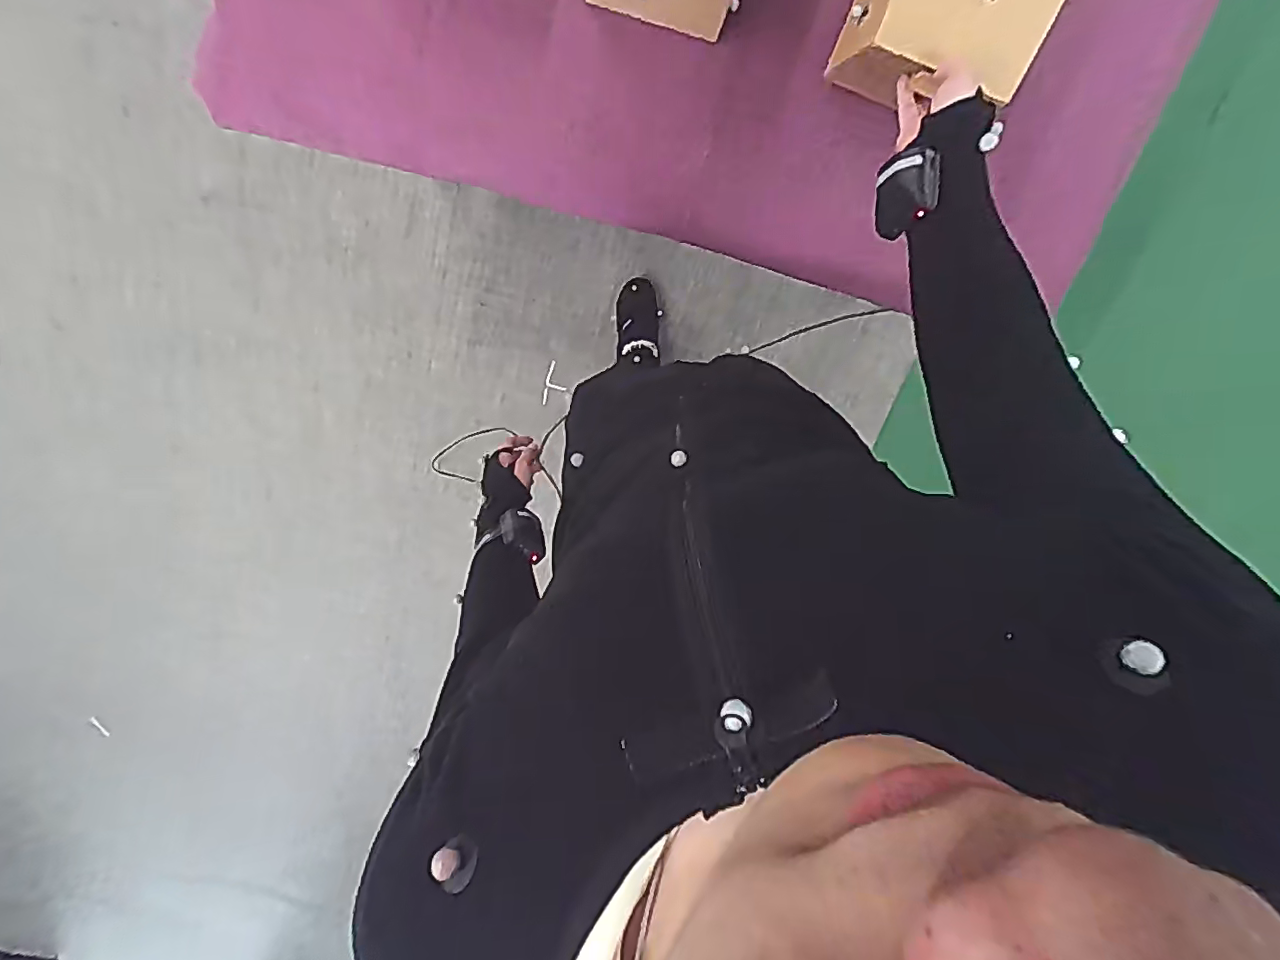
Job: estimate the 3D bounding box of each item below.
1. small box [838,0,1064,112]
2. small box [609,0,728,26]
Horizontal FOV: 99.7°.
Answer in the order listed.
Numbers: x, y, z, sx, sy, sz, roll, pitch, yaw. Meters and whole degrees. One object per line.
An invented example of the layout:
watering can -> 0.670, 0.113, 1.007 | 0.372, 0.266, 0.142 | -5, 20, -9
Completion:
small box -> 0.340, -0.532, 0.587 | 0.168, 0.176, 0.179 | 17, 116, -8
small box -> 0.036, -0.629, 0.575 | 0.179, 0.176, 0.168 | 12, 110, -5
